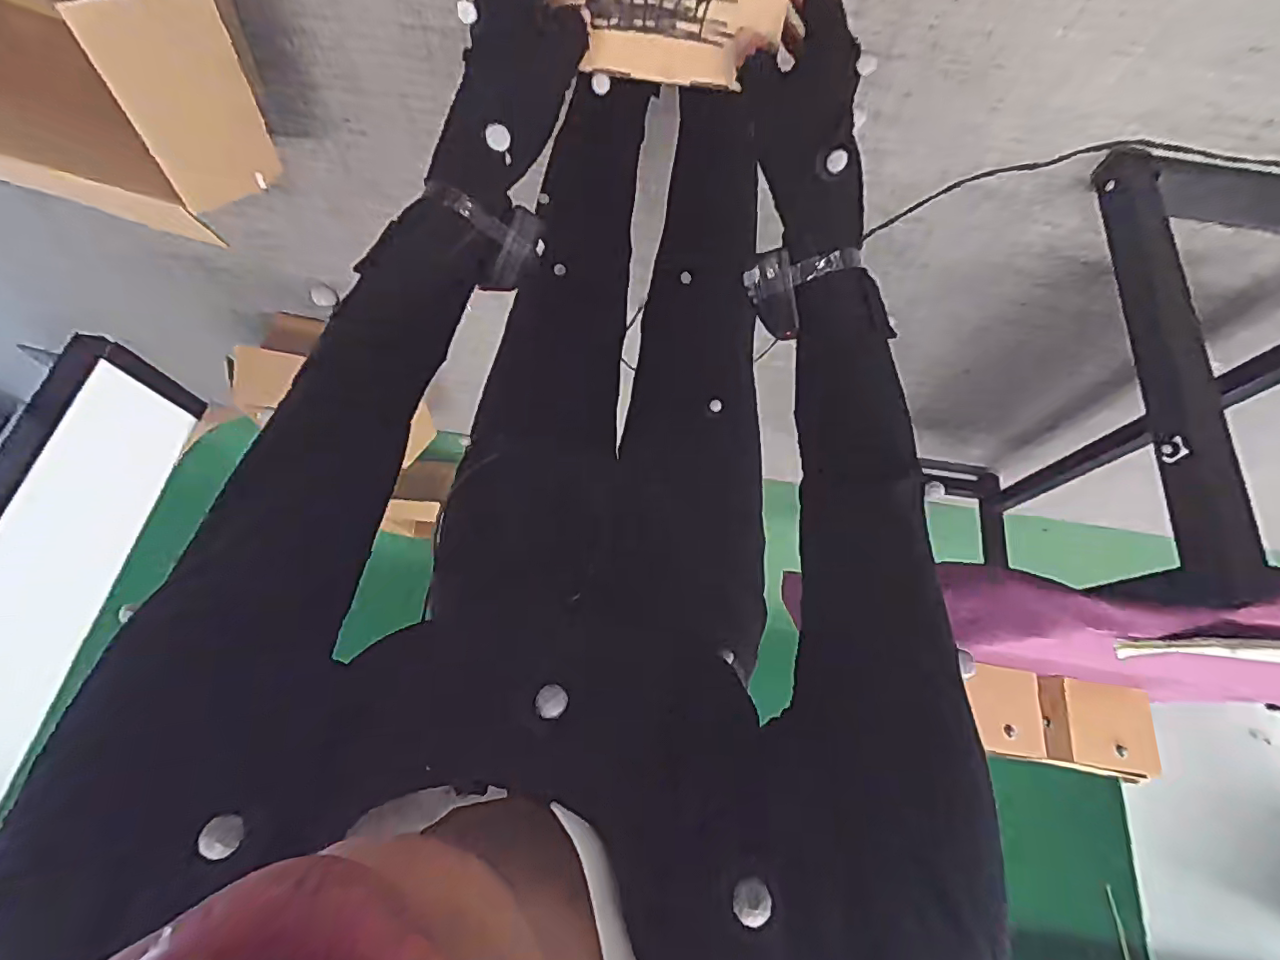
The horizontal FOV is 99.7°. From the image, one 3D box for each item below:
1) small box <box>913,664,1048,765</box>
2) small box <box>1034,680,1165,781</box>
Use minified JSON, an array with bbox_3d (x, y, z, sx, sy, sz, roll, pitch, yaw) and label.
[{"bbox_3d":[0.705,0.486,1.139,0.179,0.176,0.168,11,157,-4],"label":"small box"},{"bbox_3d":[0.932,0.521,1.141,0.179,0.176,0.168,8,157,1],"label":"small box"}]
